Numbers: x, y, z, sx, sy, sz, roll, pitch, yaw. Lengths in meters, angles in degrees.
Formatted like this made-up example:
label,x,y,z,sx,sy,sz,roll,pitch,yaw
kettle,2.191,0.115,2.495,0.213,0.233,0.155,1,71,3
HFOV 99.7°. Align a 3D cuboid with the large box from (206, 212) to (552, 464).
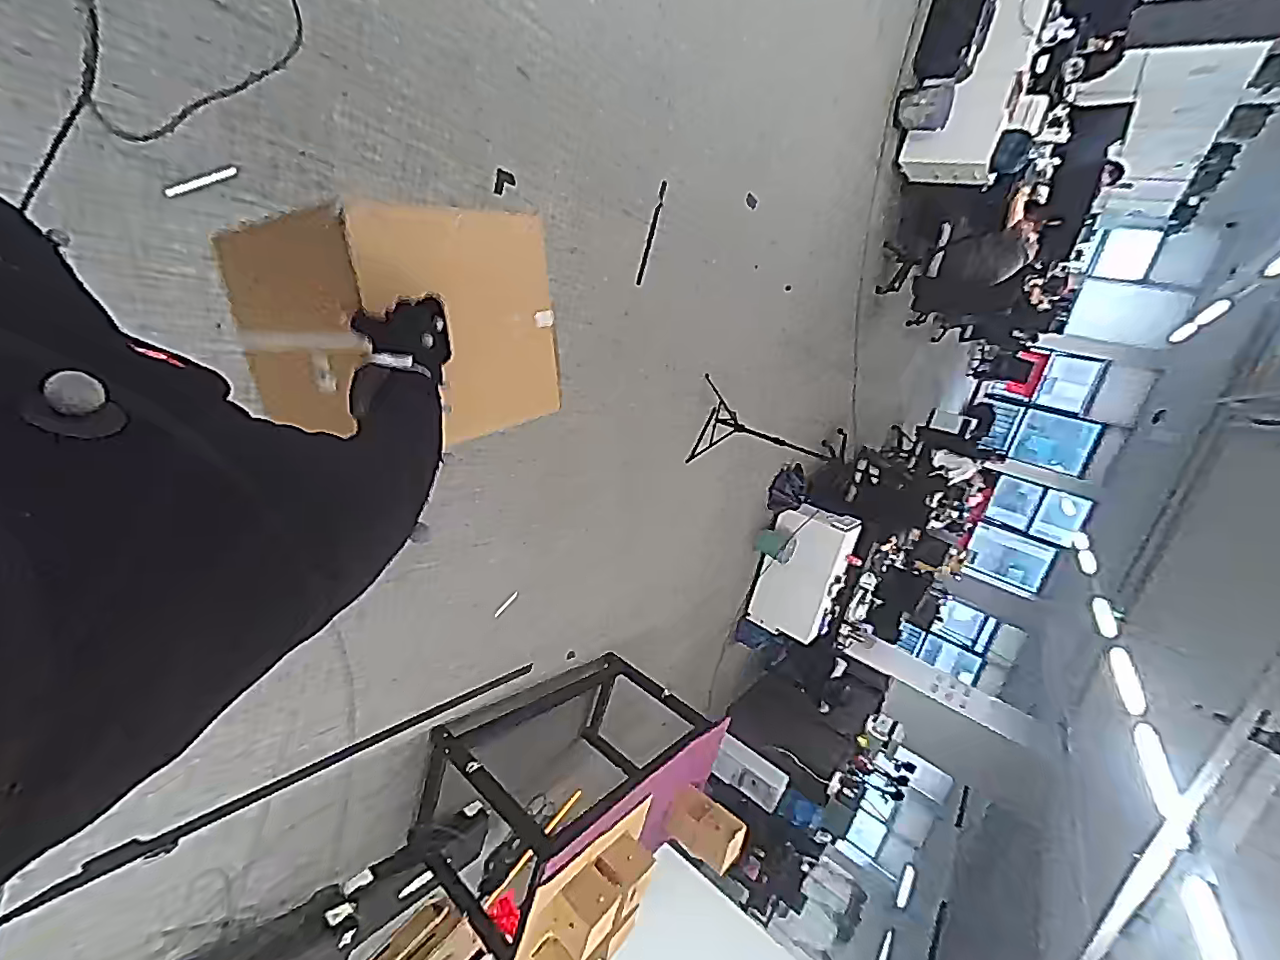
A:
label,x,y,z,sx,sy,sz,roll,pitch,yaw
large box,-0.411,-0.232,0.889,0.320,0.408,0.320,-32,122,-49
